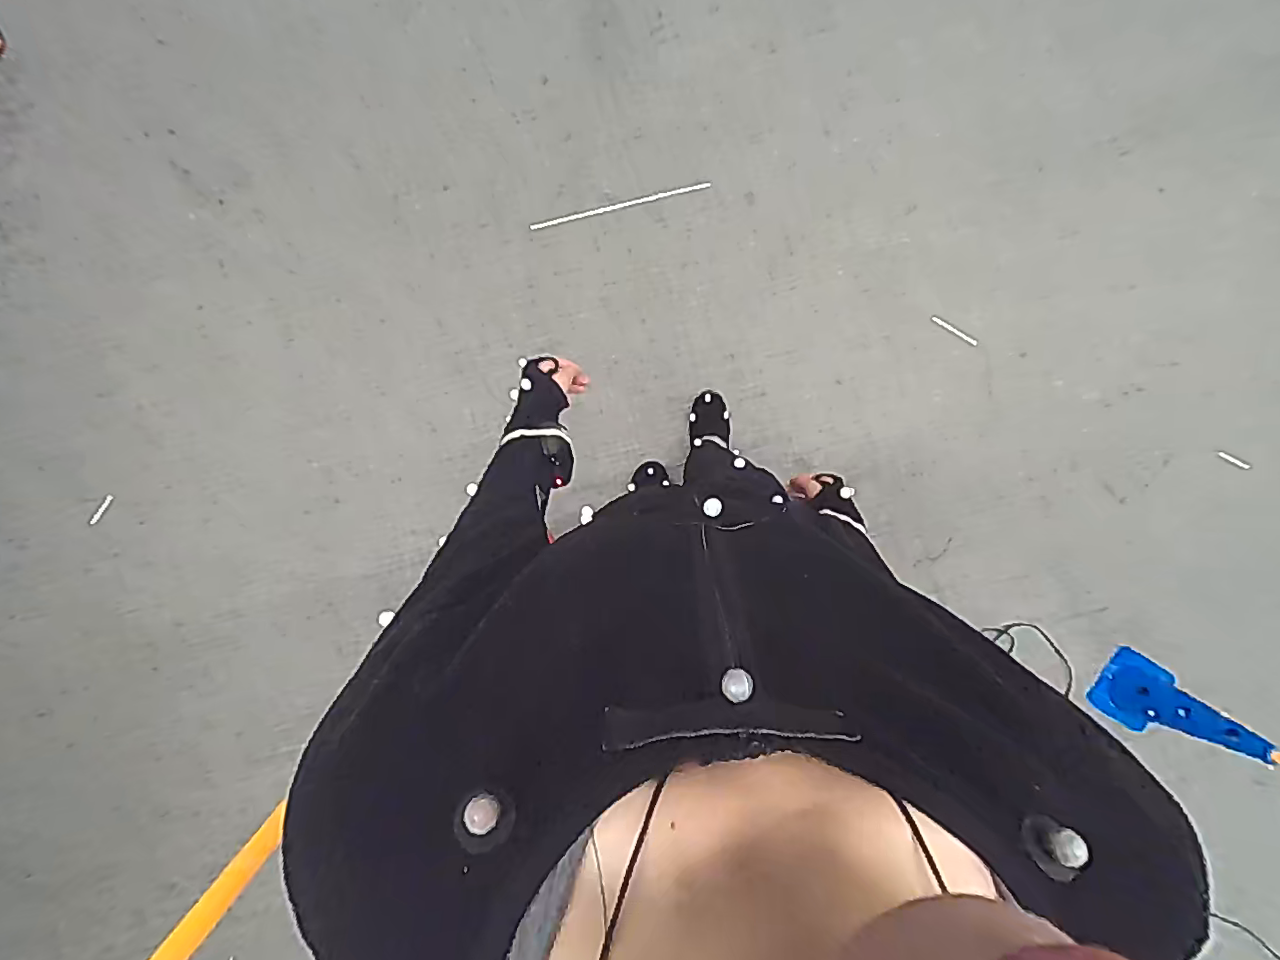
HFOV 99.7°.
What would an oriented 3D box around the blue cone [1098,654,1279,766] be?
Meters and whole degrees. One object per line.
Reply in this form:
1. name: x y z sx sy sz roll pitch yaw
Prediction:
1. blue cone: 1.423 0.614 1.380 0.192 0.380 0.193 31 91 -2
